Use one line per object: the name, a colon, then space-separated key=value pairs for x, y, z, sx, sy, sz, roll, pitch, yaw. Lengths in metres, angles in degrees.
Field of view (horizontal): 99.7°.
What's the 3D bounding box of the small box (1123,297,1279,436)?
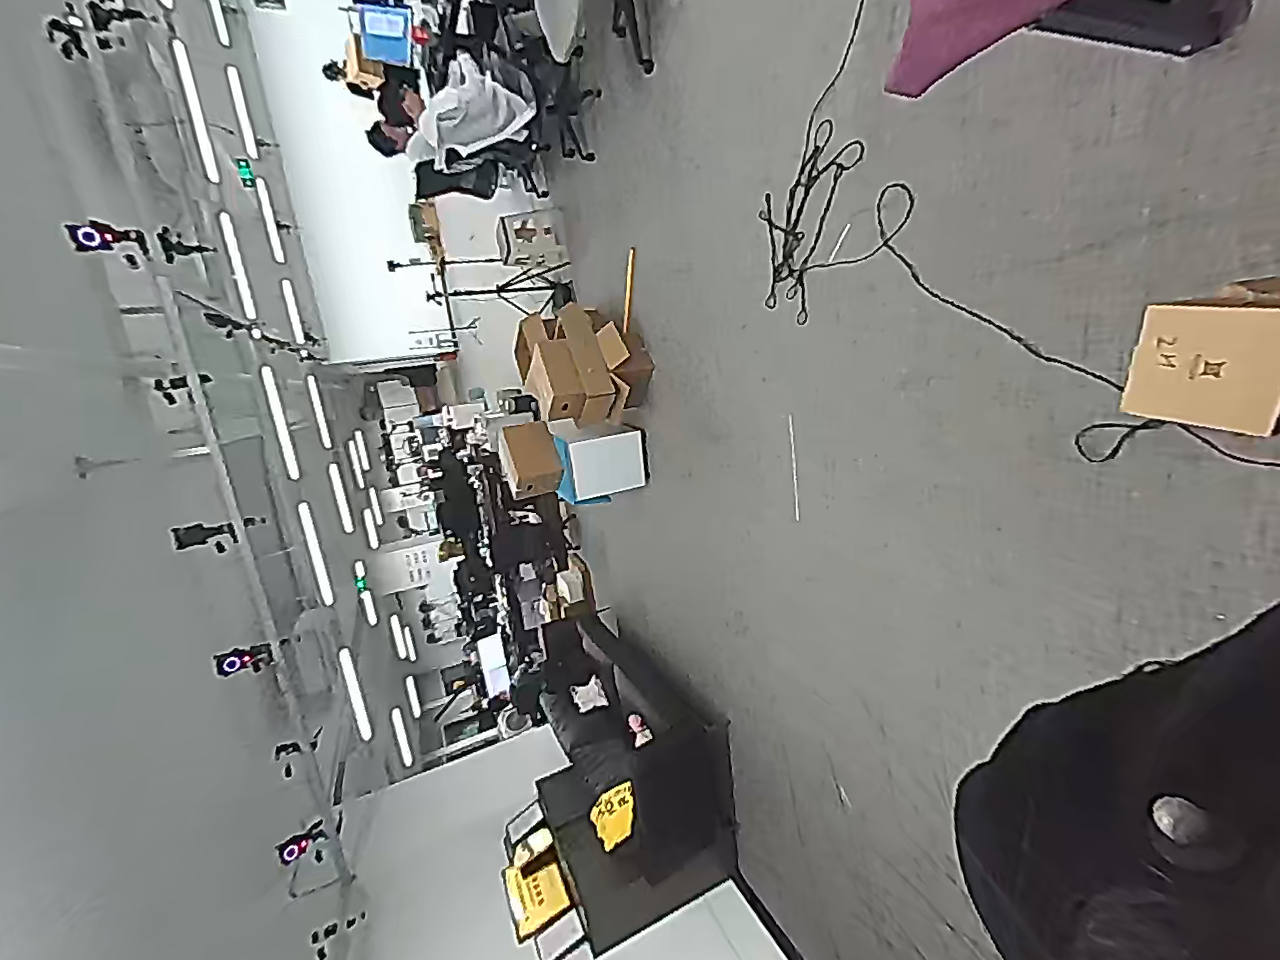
small box: x=0.872 y=-0.174 z=0.784 sx=0.179 sy=0.176 sz=0.168 roll=-143 pitch=46 yaw=-59
